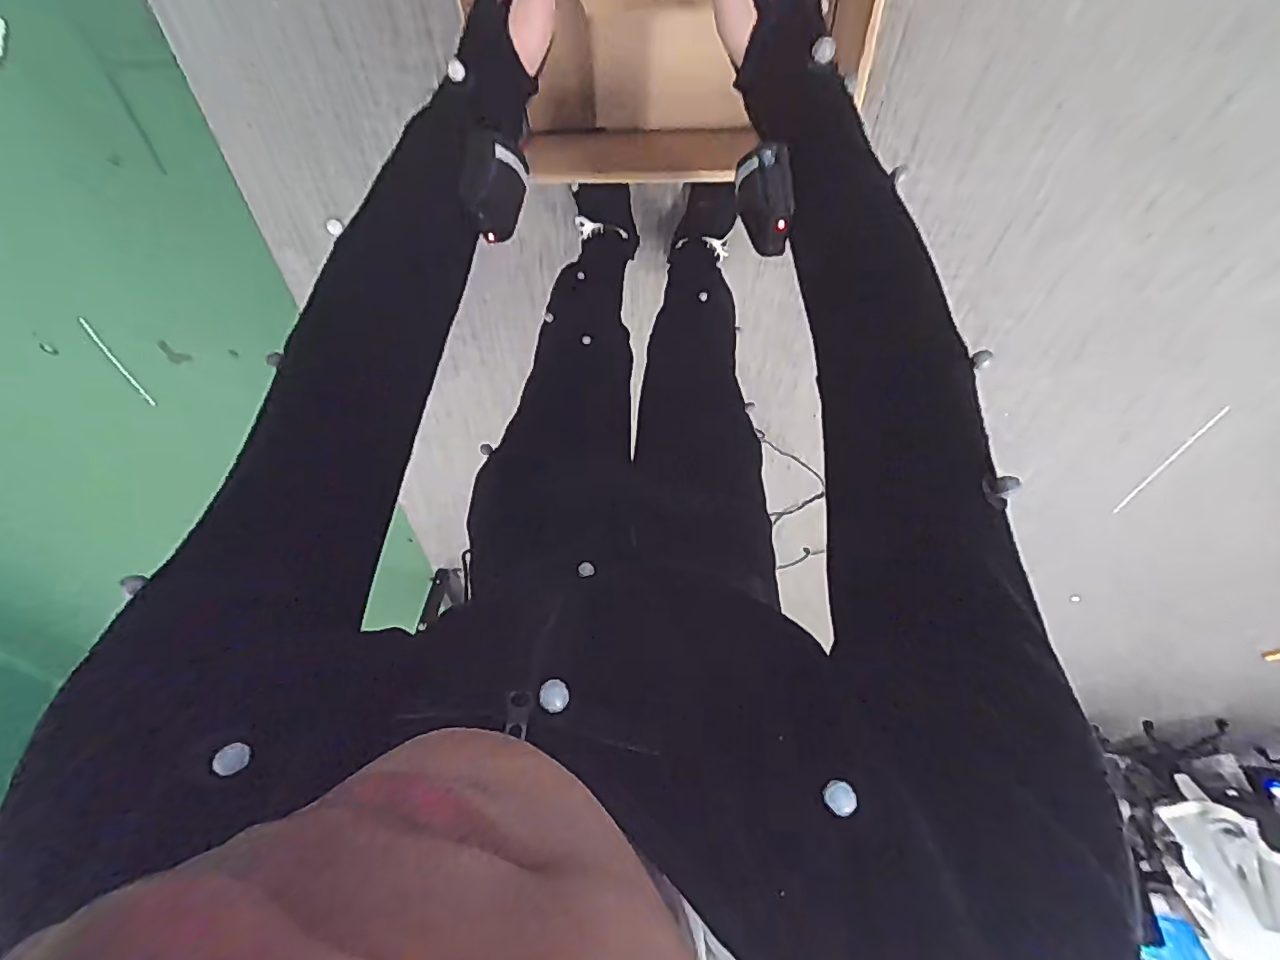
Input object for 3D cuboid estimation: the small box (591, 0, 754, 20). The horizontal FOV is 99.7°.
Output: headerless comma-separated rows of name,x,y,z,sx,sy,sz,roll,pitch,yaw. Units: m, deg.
small box,0.024,-0.513,0.429,0.168,0.176,0.179,3,107,5
